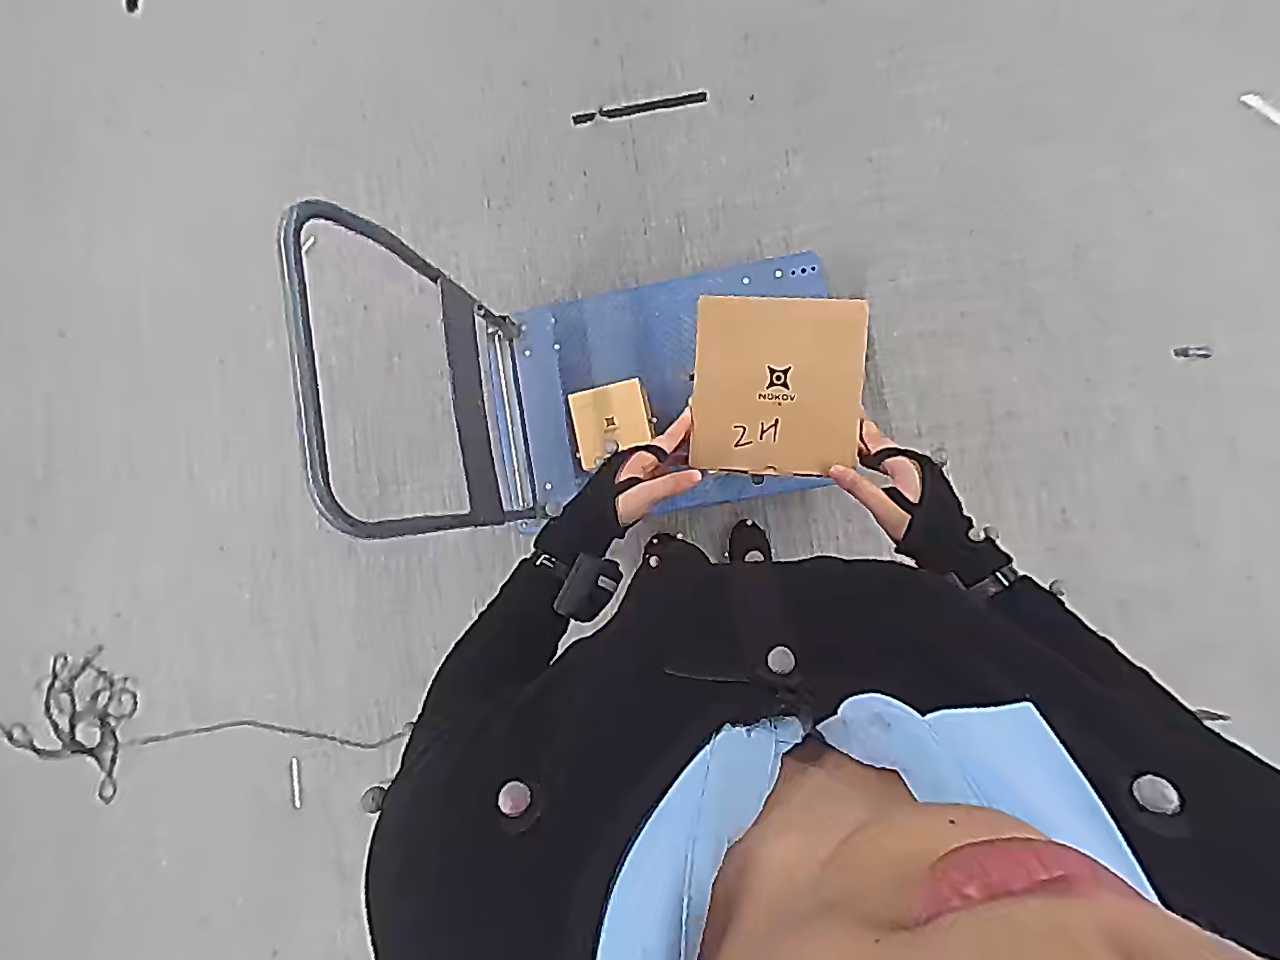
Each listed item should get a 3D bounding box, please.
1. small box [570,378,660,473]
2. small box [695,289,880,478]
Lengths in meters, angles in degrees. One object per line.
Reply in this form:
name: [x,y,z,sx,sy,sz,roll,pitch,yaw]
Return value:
small box: [-0.053,-0.120,1.272,0.168,0.176,0.179,-13,86,6]
small box: [0.150,-0.099,0.605,0.168,0.176,0.179,4,95,6]
